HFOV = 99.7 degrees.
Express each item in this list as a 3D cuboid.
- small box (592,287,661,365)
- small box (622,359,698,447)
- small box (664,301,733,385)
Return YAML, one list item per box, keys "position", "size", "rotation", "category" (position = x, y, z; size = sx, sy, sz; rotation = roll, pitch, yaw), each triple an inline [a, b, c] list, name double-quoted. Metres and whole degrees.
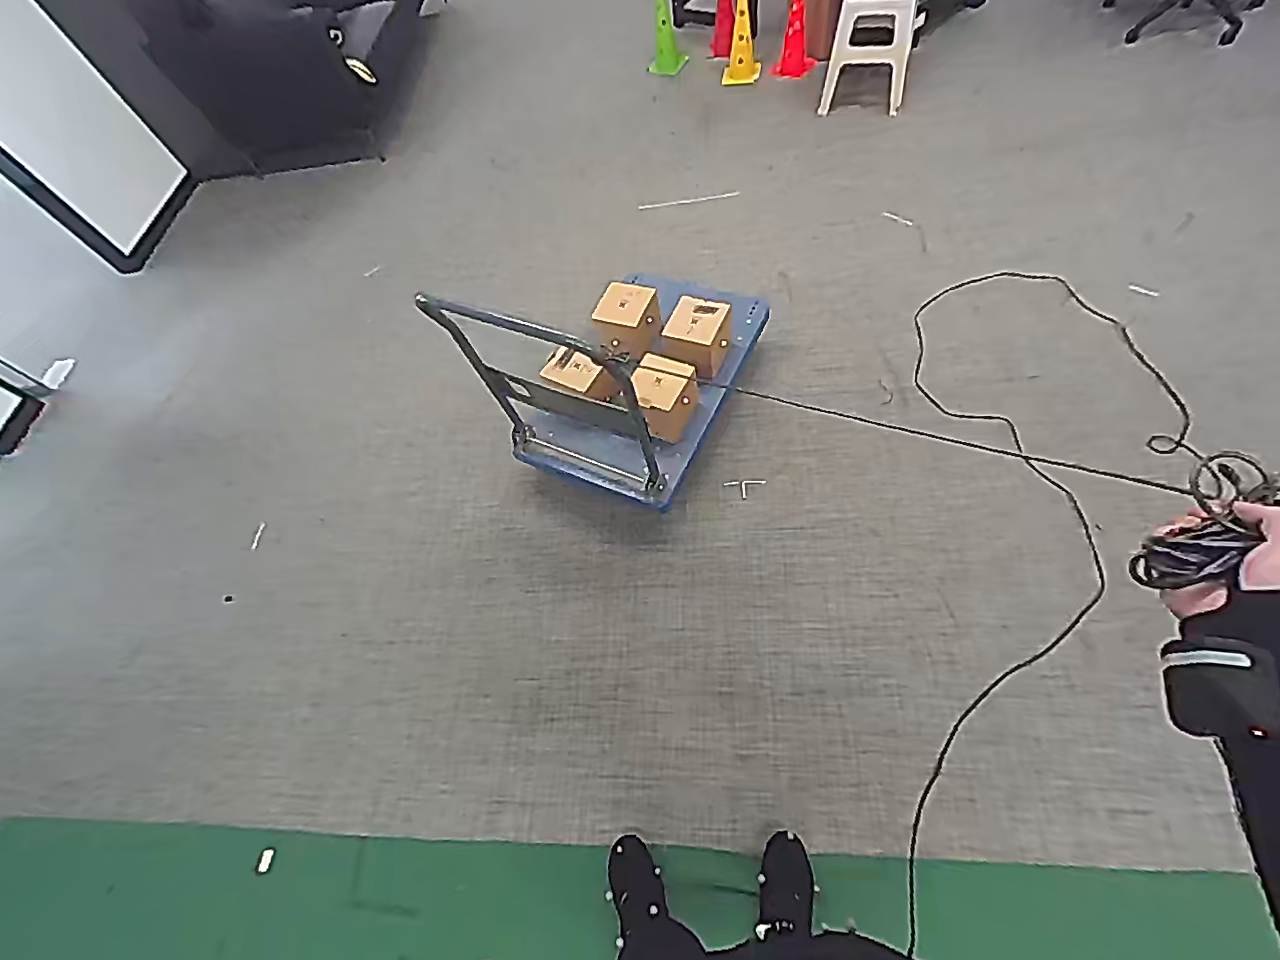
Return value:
- position: [-0.036, -0.517, 1.826]
  size: [0.168, 0.176, 0.179]
  rotation: [18, 65, 19]
  category: "small box"
- position: [0.068, -0.231, 1.646]
  size: [0.168, 0.176, 0.179]
  rotation: [22, 67, 21]
  category: "small box"
- position: [0.192, -0.438, 1.738]
  size: [0.168, 0.176, 0.179]
  rotation: [19, 66, 21]
  category: "small box"
